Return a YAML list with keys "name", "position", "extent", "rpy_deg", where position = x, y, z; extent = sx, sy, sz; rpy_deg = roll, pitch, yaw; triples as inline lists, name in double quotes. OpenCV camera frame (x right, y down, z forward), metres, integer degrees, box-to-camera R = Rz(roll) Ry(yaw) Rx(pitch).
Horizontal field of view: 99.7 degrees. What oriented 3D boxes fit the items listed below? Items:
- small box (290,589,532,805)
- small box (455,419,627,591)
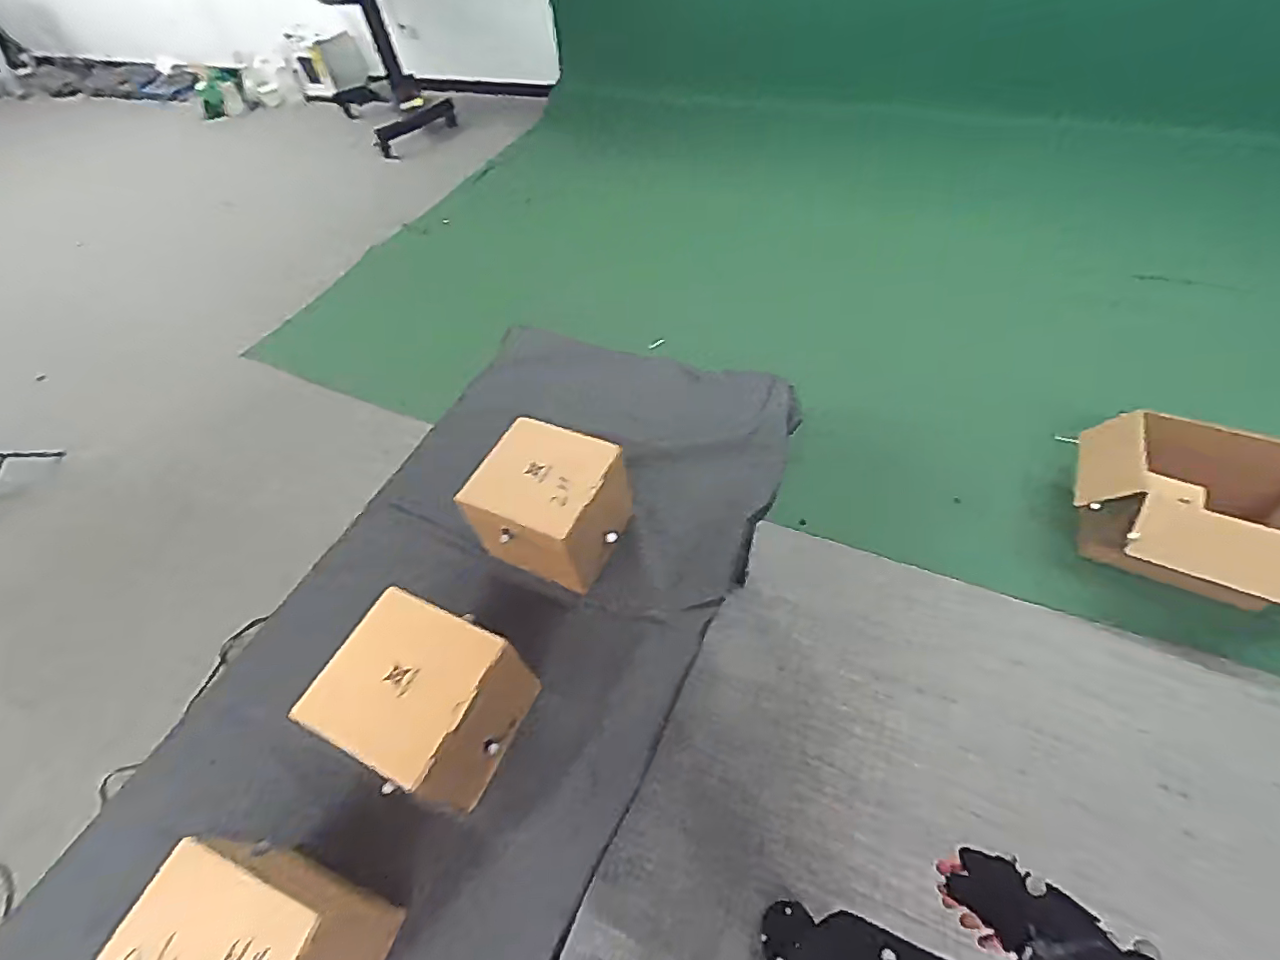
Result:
- name: "small box"
  position: [-0.257, 0.265, 0.651]
  extent: [0.179, 0.176, 0.168]
  rpy_deg: [19, 56, 18]
- name: "small box"
  position: [-0.134, 0.041, 0.806]
  extent: [0.179, 0.176, 0.168]
  rpy_deg: [19, 57, 18]
